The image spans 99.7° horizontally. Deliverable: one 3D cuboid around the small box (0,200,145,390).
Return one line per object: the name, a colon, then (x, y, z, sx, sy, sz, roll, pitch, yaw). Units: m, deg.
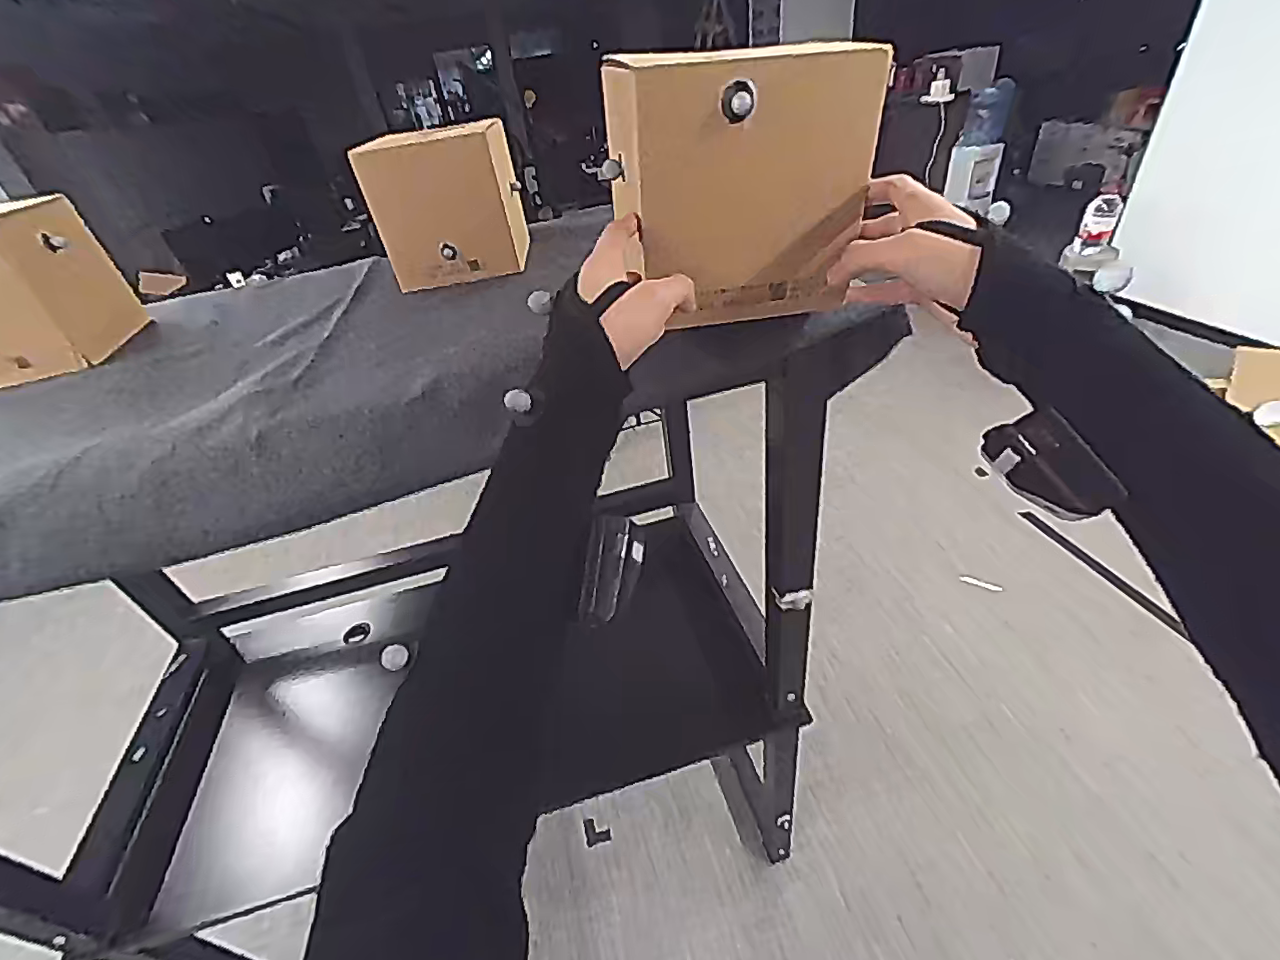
small box: (-0.765, -0.221, 0.654, 0.168, 0.176, 0.179, -16, 39, -9)

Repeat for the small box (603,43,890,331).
small box: (0.065, -0.235, 0.435, 0.168, 0.176, 0.179, -9, 38, -5)
